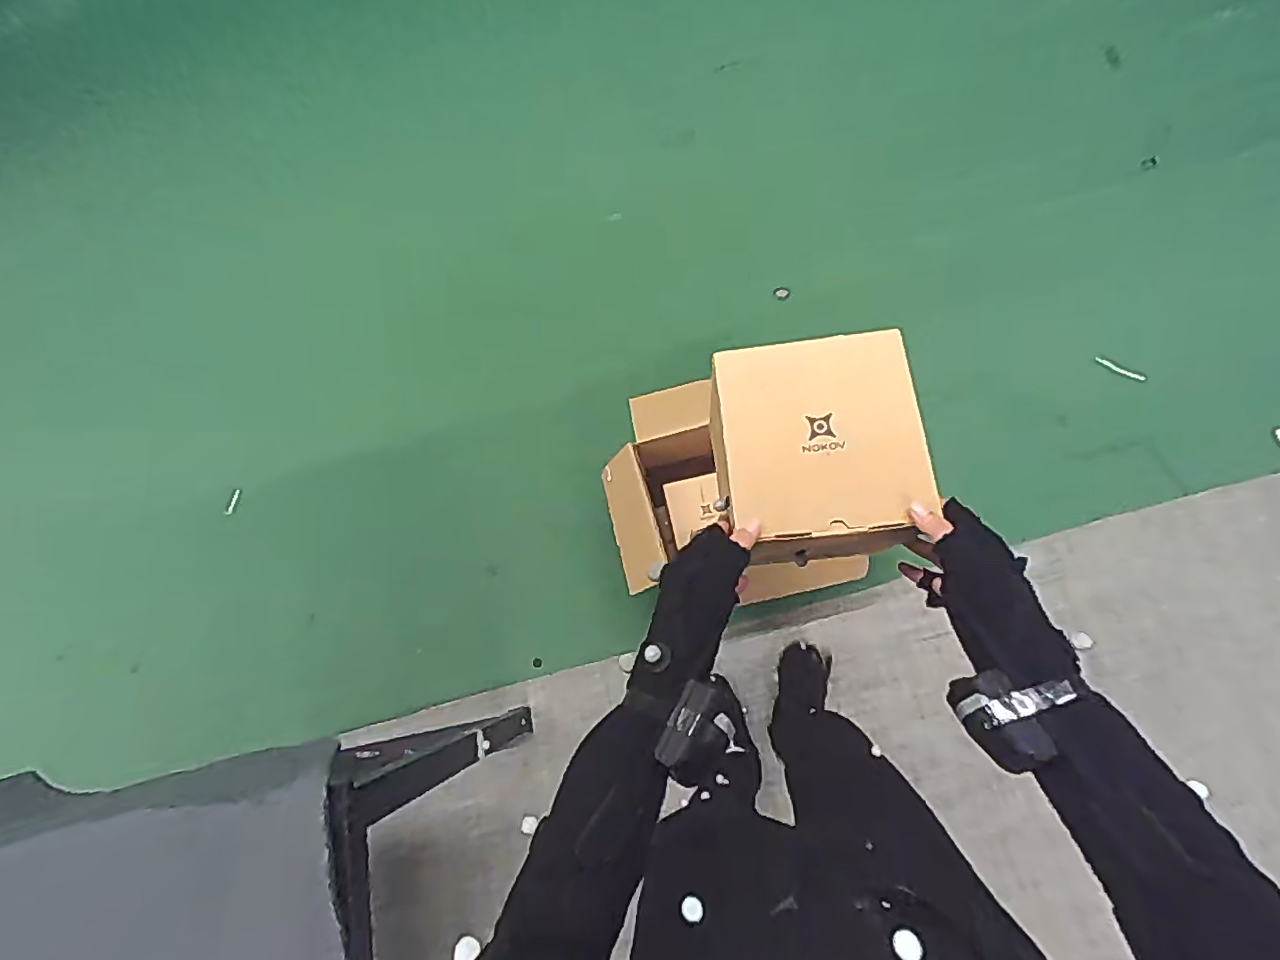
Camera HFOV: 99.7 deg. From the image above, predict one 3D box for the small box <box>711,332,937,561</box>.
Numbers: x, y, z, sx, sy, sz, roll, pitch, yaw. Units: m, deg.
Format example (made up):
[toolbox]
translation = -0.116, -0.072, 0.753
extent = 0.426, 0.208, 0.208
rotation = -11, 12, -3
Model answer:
[small box]
translation = 0.163, -0.022, 0.544
extent = 0.168, 0.176, 0.179
rotation = -7, 74, 5
